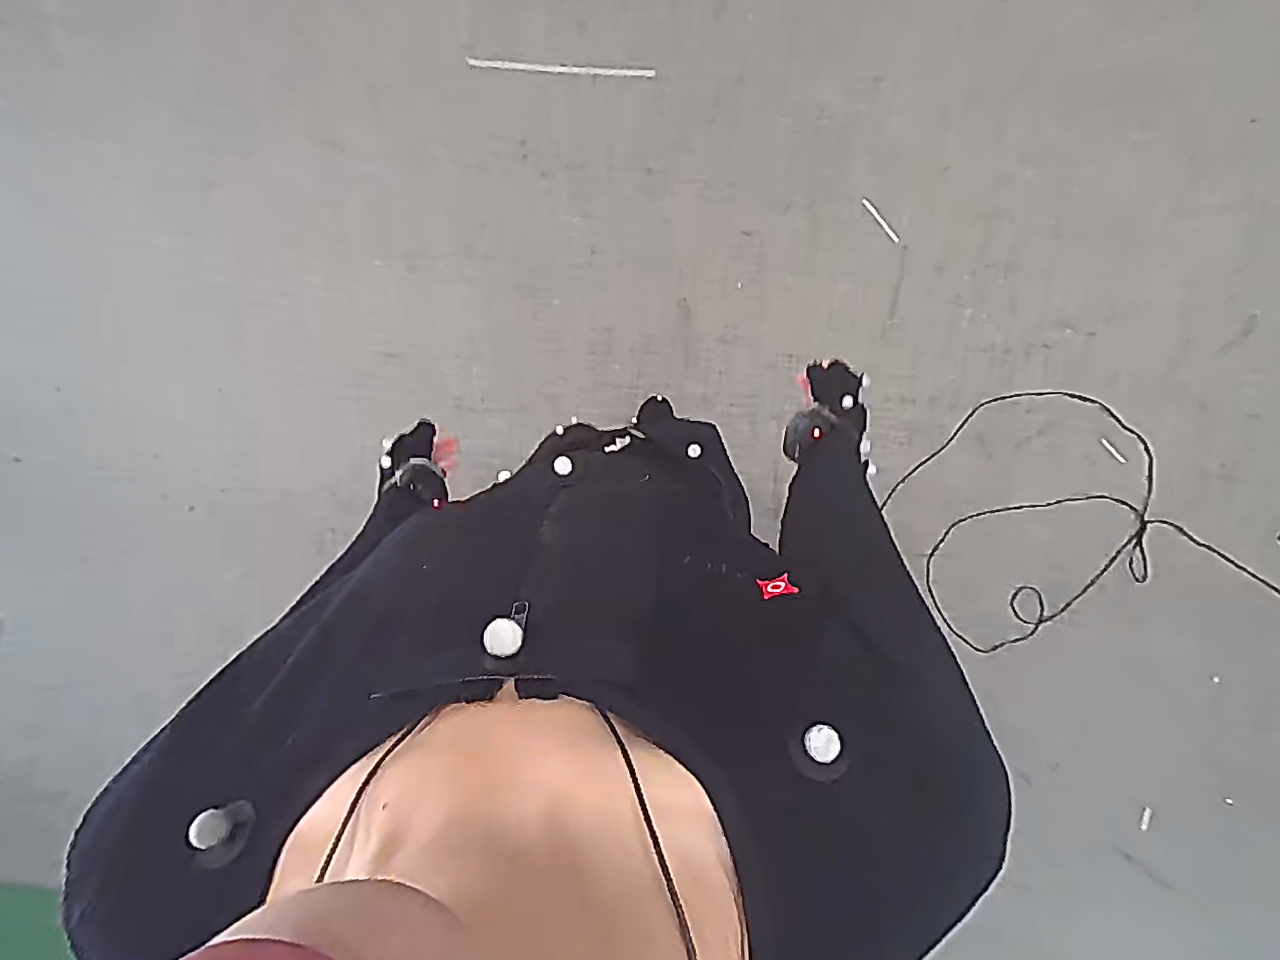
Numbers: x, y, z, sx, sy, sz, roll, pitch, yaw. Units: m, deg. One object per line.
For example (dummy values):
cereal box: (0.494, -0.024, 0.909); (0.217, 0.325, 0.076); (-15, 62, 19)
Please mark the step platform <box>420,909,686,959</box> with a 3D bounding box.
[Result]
step platform: (-0.218, 1.299, 1.357); (0.684, 0.204, 0.286); (5, 97, 0)
